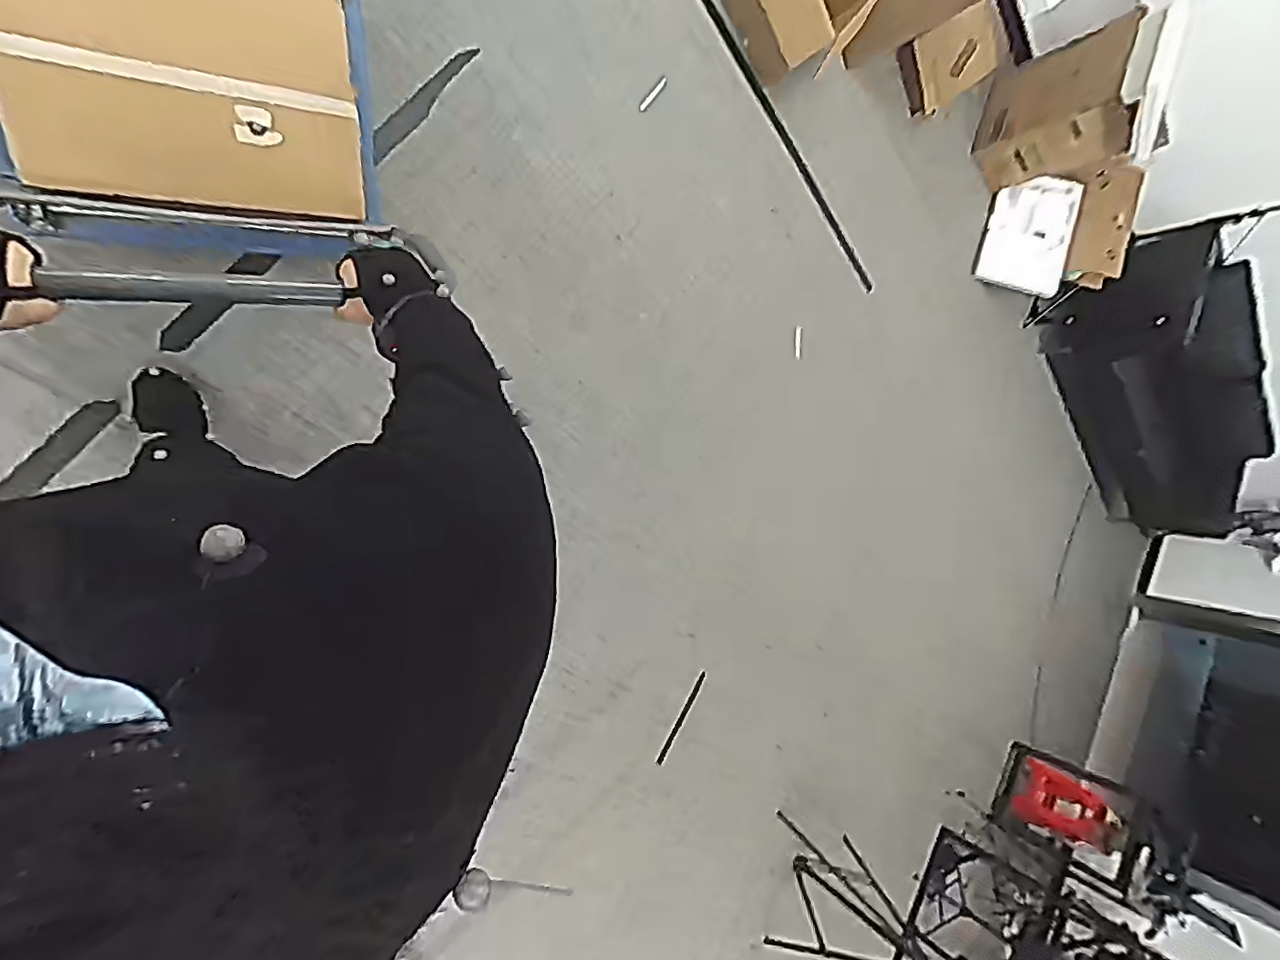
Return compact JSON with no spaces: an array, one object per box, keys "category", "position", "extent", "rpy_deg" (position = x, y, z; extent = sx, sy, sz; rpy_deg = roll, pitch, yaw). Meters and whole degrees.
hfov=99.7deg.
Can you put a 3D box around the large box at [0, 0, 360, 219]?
[{"category":"large box","position":[-0.717,-0.604,0.861],"extent":[0.408,0.320,0.320],"rpy_deg":[-12,118,-35]}]
